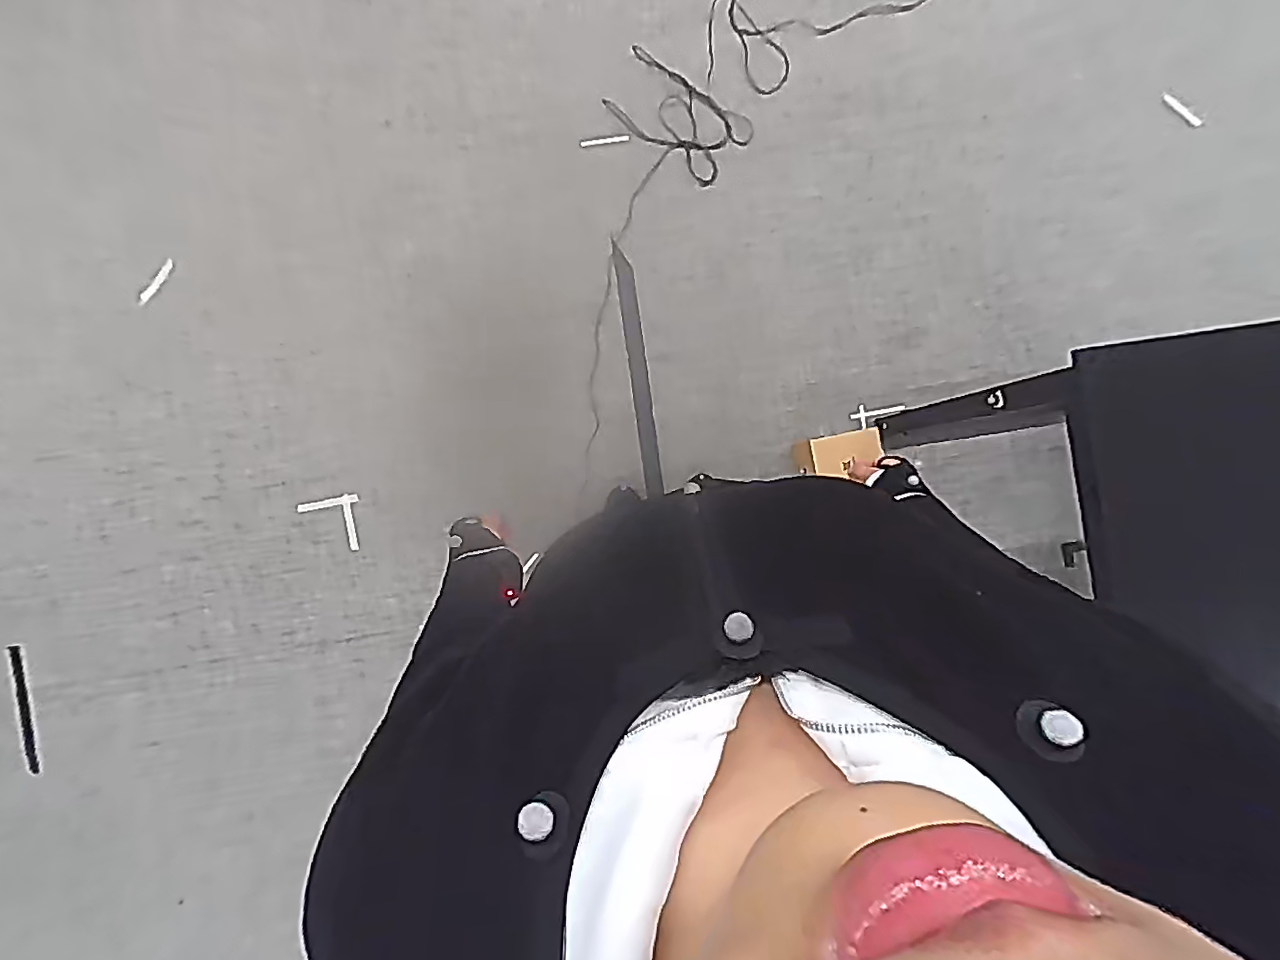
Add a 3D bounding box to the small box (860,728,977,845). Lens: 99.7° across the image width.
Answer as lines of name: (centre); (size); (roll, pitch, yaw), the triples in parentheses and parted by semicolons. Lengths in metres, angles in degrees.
small box: (0.721, 0.791, 1.417); (0.179, 0.176, 0.168); (35, 90, 1)
